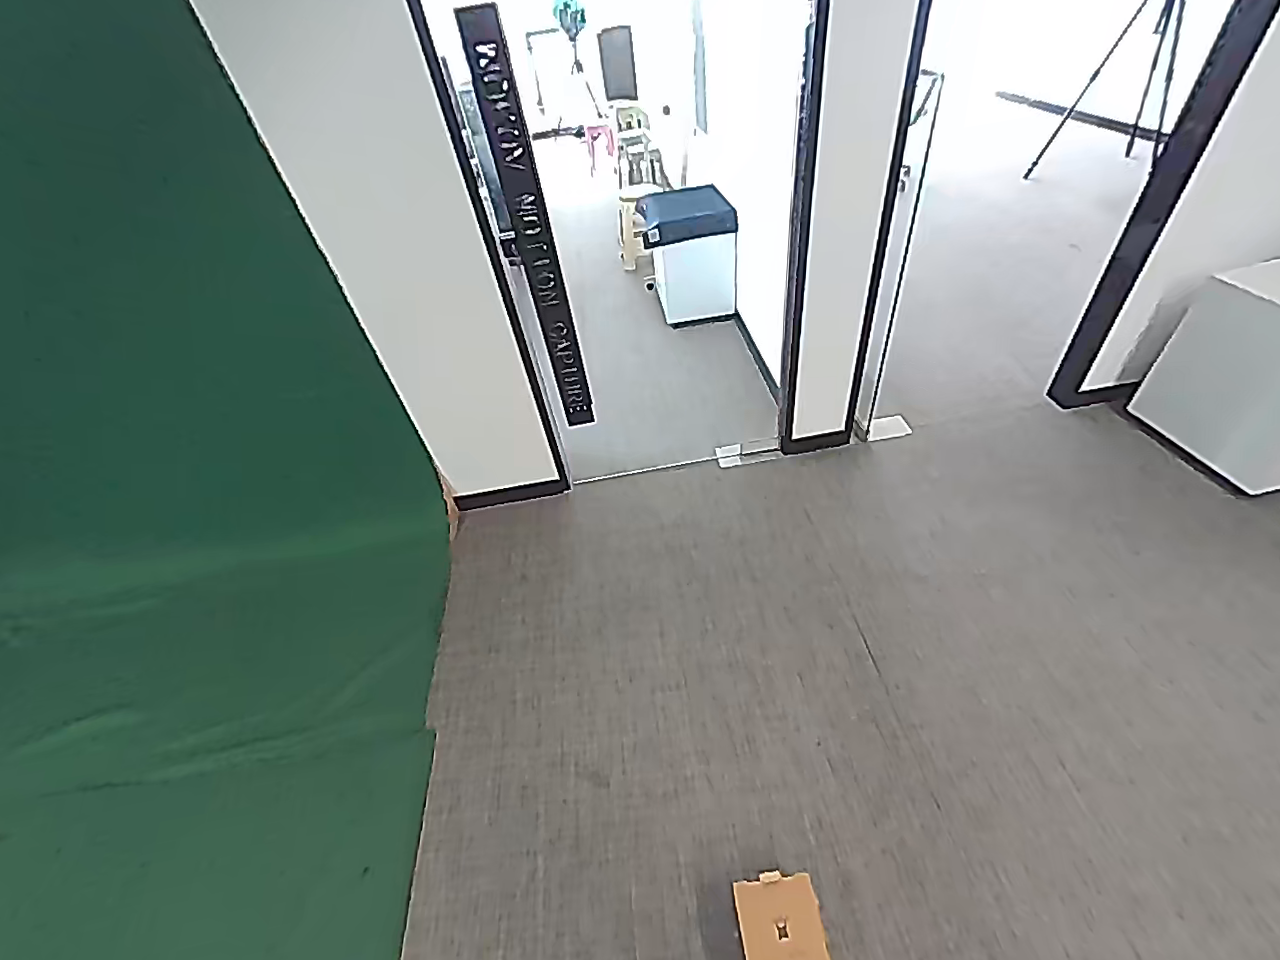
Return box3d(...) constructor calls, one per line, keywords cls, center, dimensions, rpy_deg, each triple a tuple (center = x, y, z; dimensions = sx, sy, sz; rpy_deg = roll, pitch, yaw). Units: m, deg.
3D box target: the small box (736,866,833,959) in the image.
box3d(cls="small box", center=(0.297, 0.941, 1.136), dimensions=(0.168, 0.176, 0.179), rpy_deg=(-9, 44, 4))
